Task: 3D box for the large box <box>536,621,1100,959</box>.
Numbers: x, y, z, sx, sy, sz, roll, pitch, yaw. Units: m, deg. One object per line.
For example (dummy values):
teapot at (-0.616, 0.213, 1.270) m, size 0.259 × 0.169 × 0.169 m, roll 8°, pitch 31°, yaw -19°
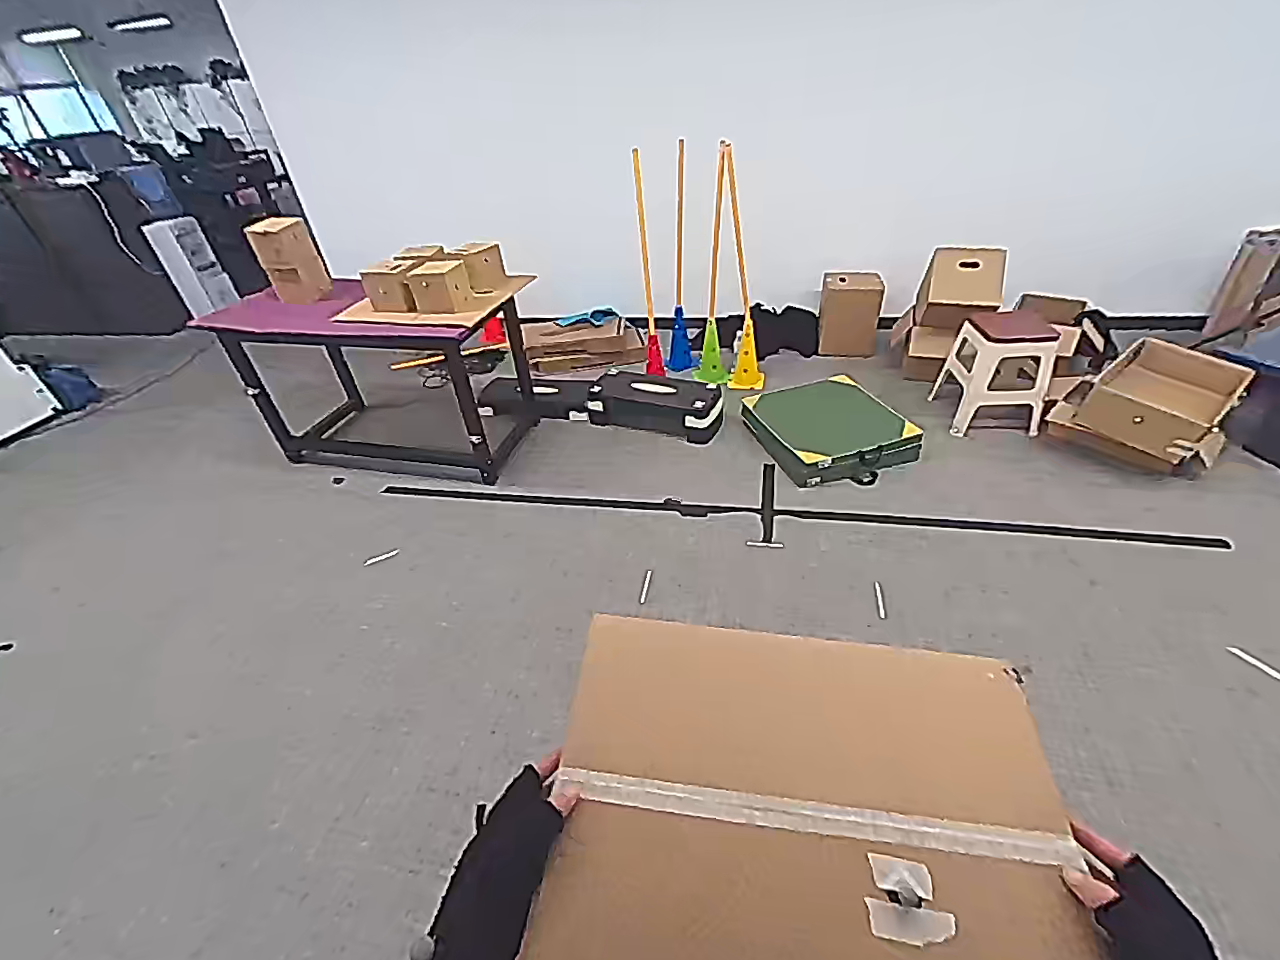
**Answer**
large box at (0.136, 0.372, 0.555) m, size 0.408 × 0.320 × 0.320 m, roll 4°, pitch 48°, yaw 6°
